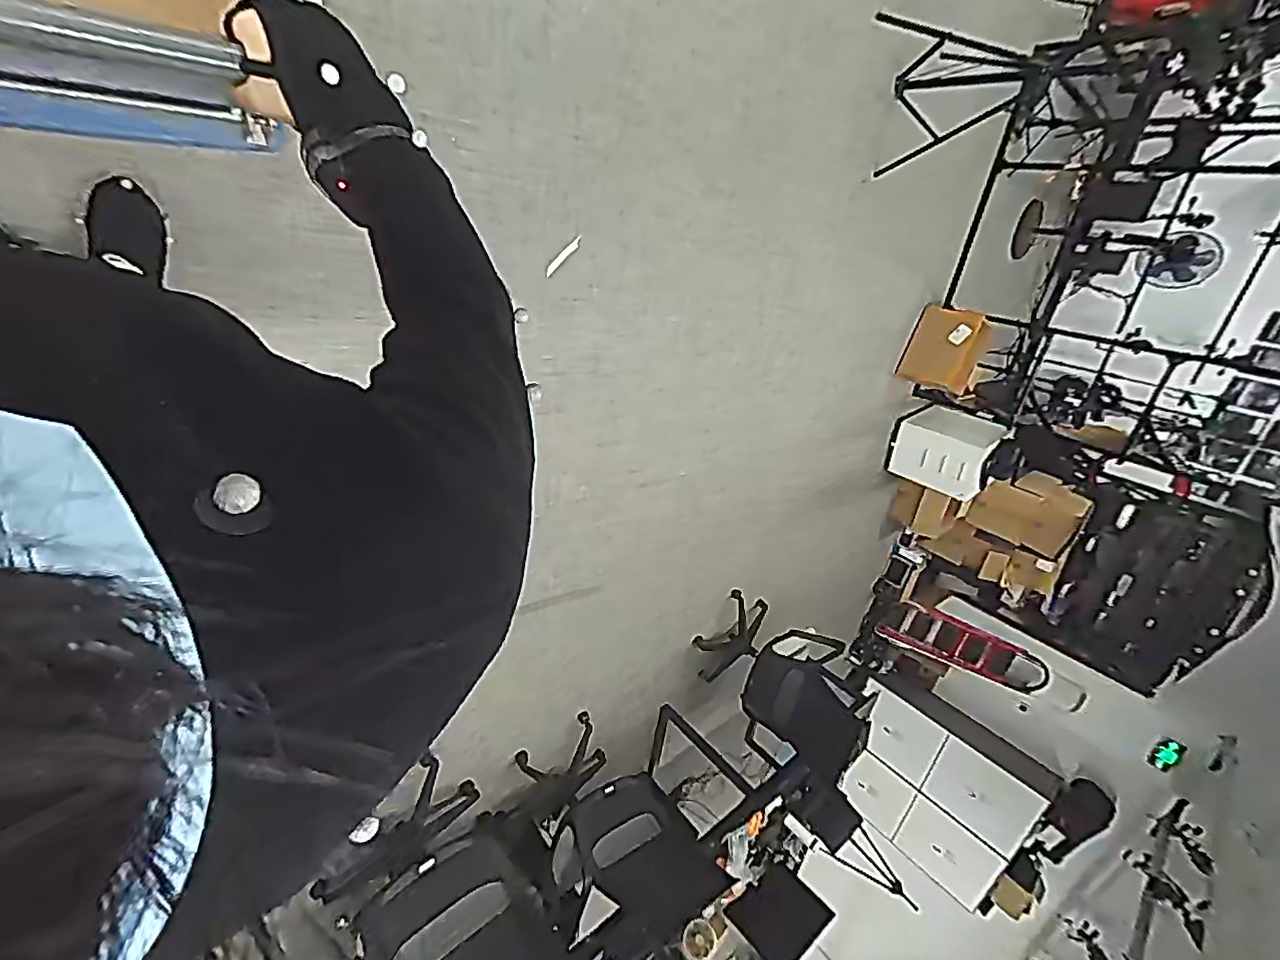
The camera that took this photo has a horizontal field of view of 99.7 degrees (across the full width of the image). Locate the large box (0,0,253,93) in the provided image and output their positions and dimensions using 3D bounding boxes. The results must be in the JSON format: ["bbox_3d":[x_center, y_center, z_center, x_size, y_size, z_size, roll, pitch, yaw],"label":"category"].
[{"bbox_3d":[-0.740,-0.669,0.609,0.408,0.320,0.320,-19,125,-39],"label":"large box"}]
